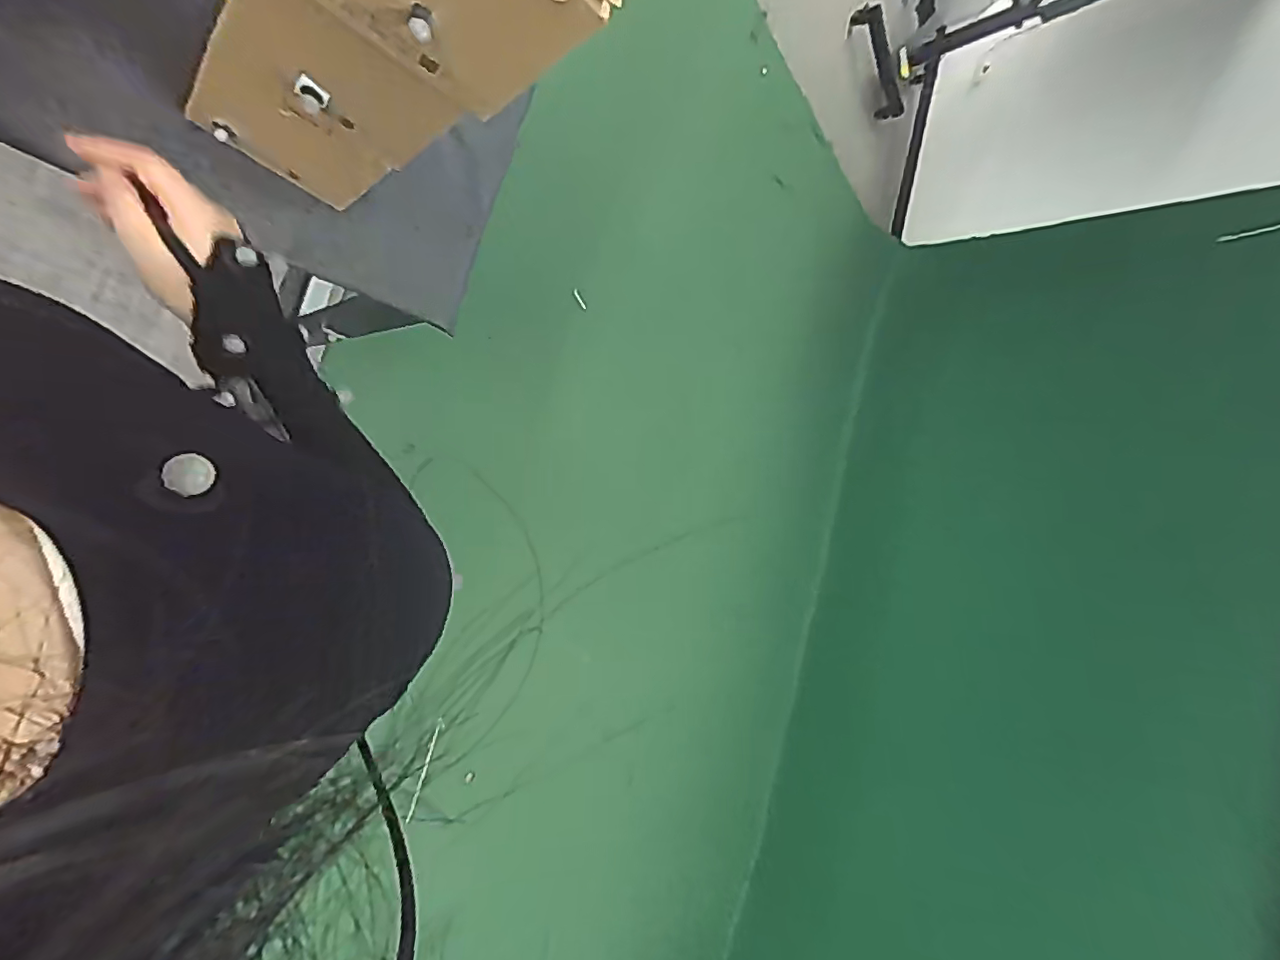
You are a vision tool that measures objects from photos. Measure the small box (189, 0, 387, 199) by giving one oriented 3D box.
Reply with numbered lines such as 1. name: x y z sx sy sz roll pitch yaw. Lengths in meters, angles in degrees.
1. small box: -0.359 -0.447 0.590 0.168 0.176 0.179 23 76 -46

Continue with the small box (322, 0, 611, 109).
1. small box: -0.122 -0.410 0.366 0.168 0.176 0.179 13 84 -45

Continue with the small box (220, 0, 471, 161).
1. small box: -0.242 -0.431 0.478 0.168 0.176 0.179 17 82 -45
